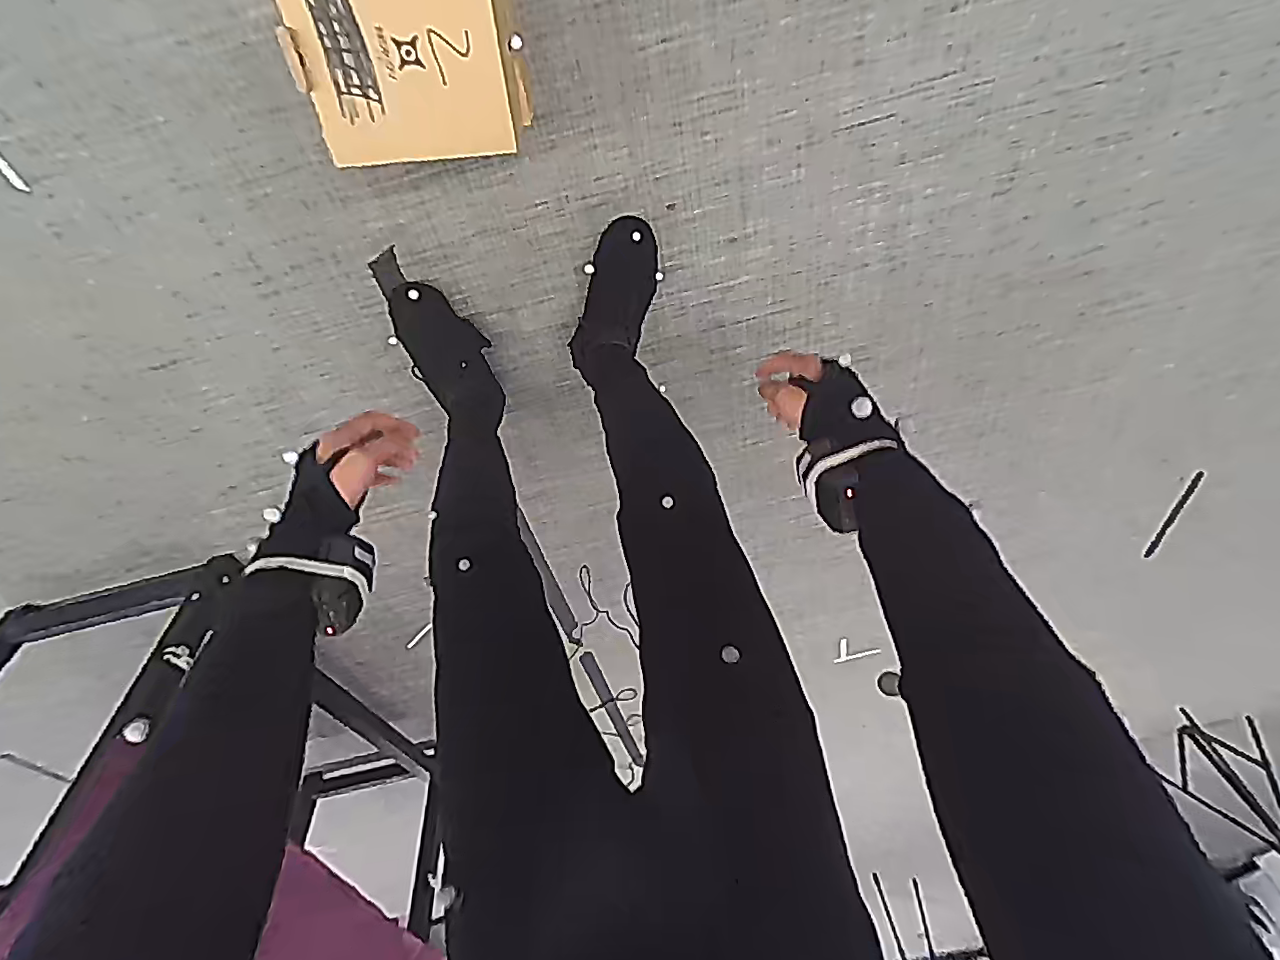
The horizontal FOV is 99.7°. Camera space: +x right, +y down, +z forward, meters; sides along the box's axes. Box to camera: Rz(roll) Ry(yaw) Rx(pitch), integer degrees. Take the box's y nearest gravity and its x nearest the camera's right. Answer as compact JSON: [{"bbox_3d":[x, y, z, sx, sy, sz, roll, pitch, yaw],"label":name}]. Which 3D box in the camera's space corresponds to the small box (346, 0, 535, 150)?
[{"bbox_3d":[-0.226,-0.524,0.650,0.168,0.176,0.179,-10,132,0],"label":"small box"}]
